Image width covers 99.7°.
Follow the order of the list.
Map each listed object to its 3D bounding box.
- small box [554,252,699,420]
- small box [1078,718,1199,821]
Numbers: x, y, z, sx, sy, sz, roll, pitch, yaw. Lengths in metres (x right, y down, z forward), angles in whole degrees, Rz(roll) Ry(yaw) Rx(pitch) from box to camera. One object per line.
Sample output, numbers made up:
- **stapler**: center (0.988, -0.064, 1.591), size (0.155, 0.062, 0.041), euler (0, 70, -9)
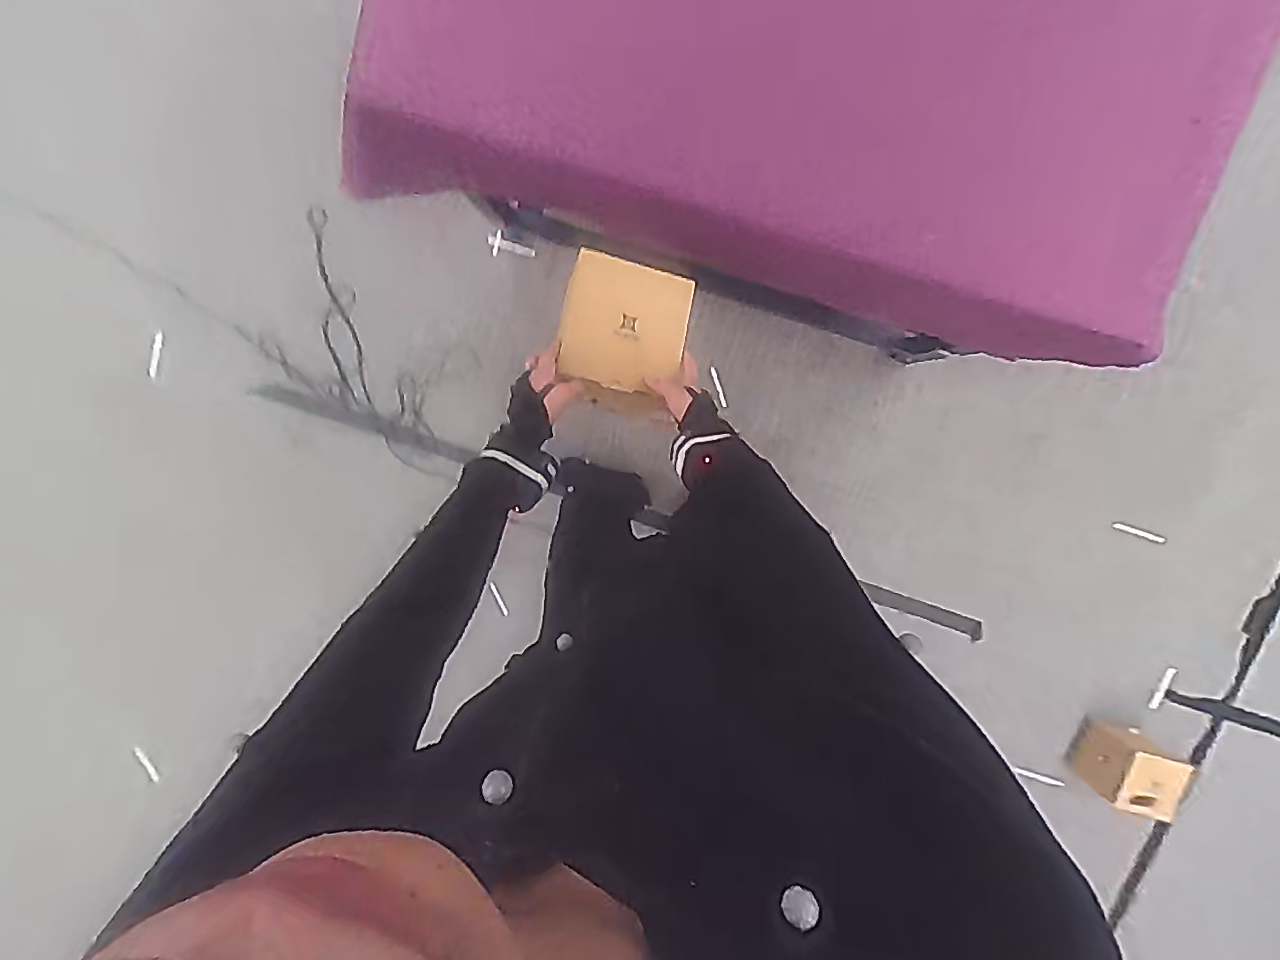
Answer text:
- **small box**: center (-0.029, -0.201, 0.807), size (0.168, 0.176, 0.179), euler (12, 86, -13)
- **small box**: center (1.419, 0.825, 1.556), size (0.168, 0.176, 0.179), euler (16, 98, 0)
